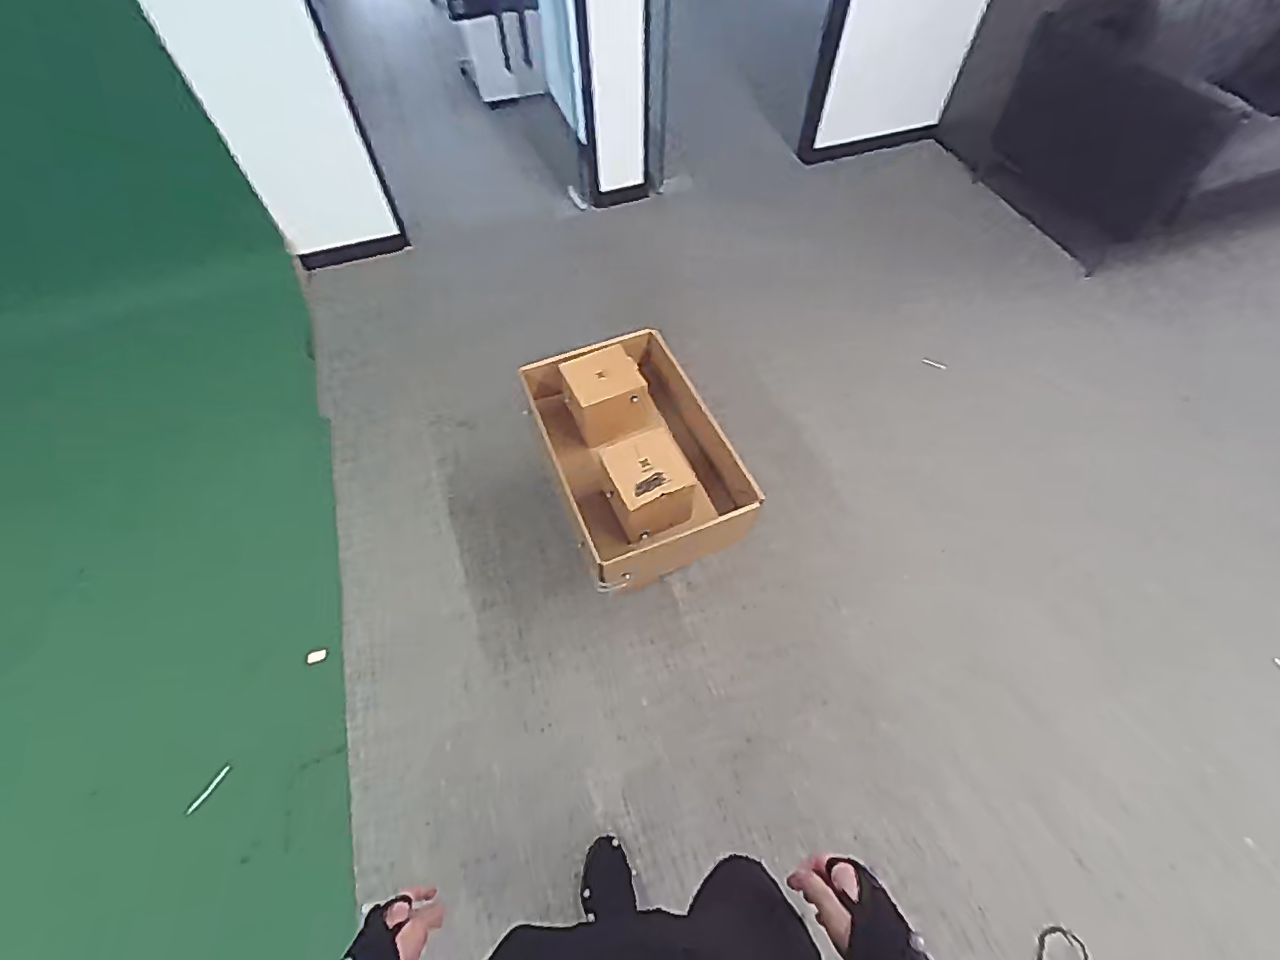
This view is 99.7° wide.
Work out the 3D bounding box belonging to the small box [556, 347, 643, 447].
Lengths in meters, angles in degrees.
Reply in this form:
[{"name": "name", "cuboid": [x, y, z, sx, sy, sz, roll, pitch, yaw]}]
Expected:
[{"name": "small box", "cuboid": [-0.100, -0.214, 1.422, 0.179, 0.176, 0.168, -23, 59, -14]}]
